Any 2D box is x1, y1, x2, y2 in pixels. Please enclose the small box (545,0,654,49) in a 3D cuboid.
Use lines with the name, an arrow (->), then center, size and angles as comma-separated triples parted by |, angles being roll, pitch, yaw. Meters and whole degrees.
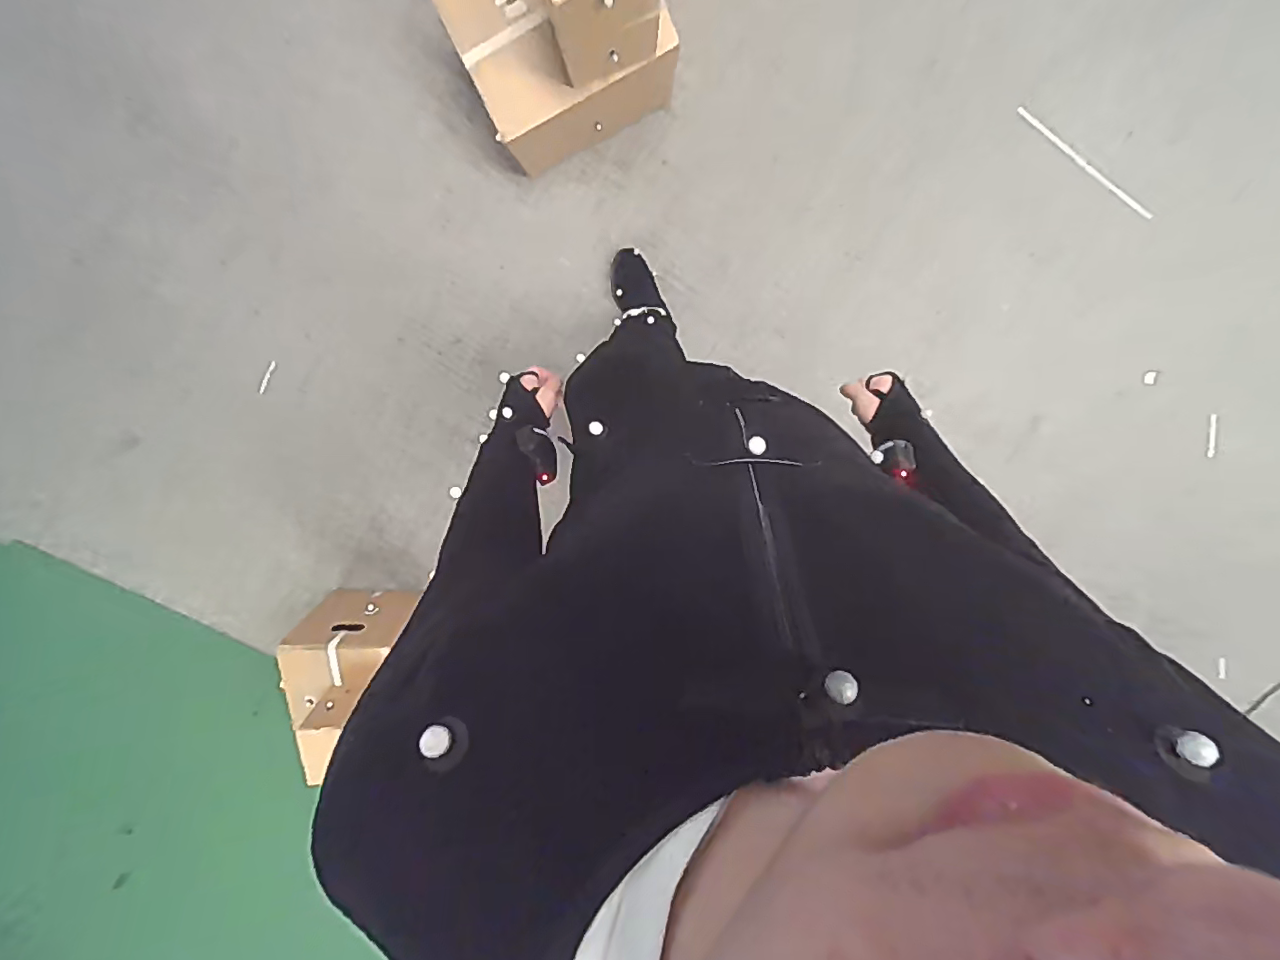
small box -> -0.075, -0.793, 0.799 | 0.179, 0.176, 0.168 | -22, 108, 7

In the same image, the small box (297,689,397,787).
small box -> -0.759, 0.669, 1.419 | 0.168, 0.176, 0.179 | 0, 108, -1

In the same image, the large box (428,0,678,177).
large box -> -0.168, -0.940, 1.180 | 0.408, 0.320, 0.320 | -25, 105, 8
